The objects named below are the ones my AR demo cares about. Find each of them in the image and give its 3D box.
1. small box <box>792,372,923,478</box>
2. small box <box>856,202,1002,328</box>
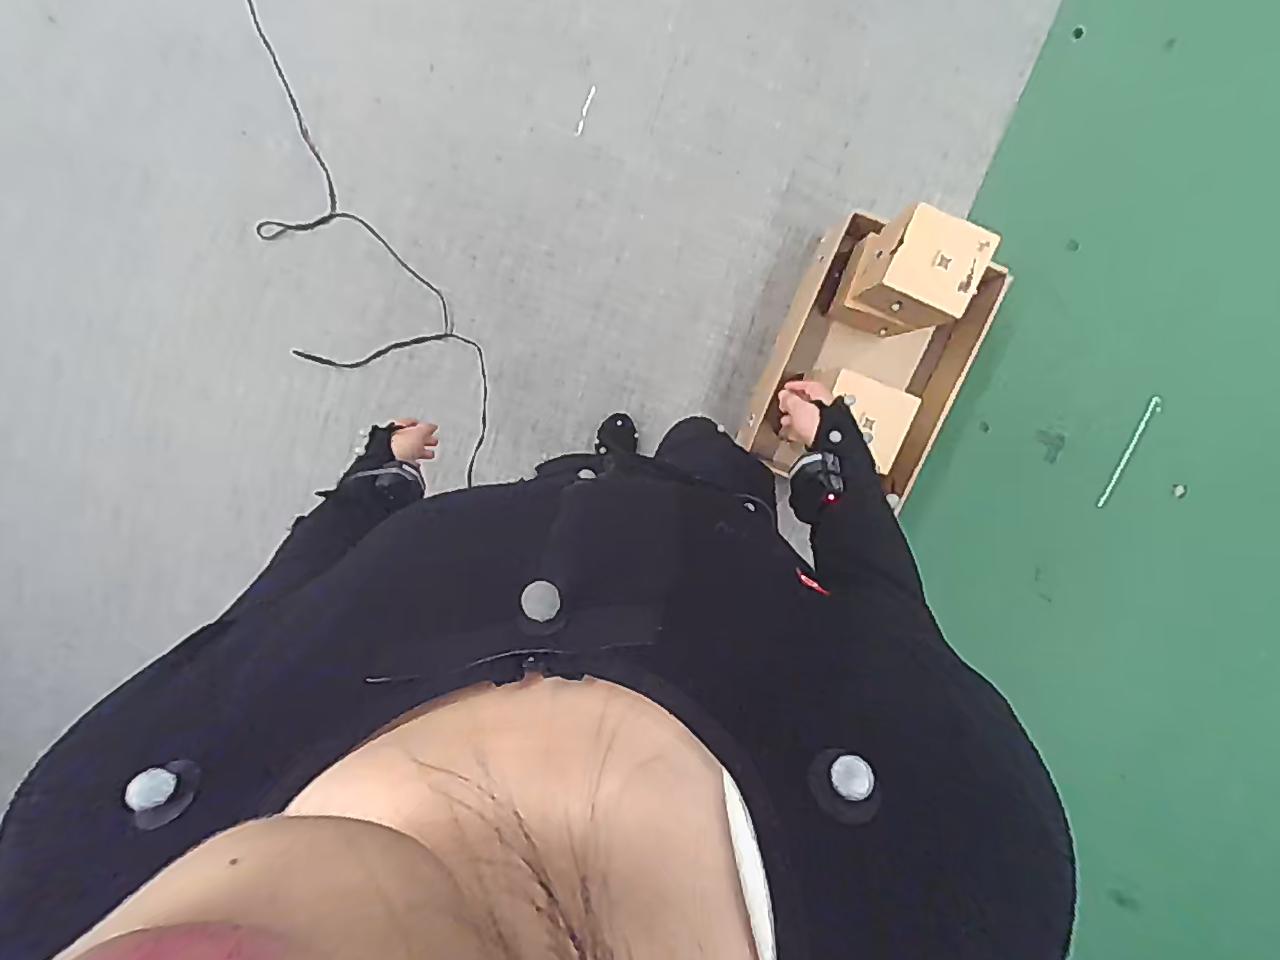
[{"bbox_3d":[0.451,-0.120,1.150,0.179,0.176,0.168,21,97,-1],"label":"small box"},{"bbox_3d":[0.573,-0.424,1.100,0.179,0.176,0.168,23,99,-1],"label":"small box"}]
